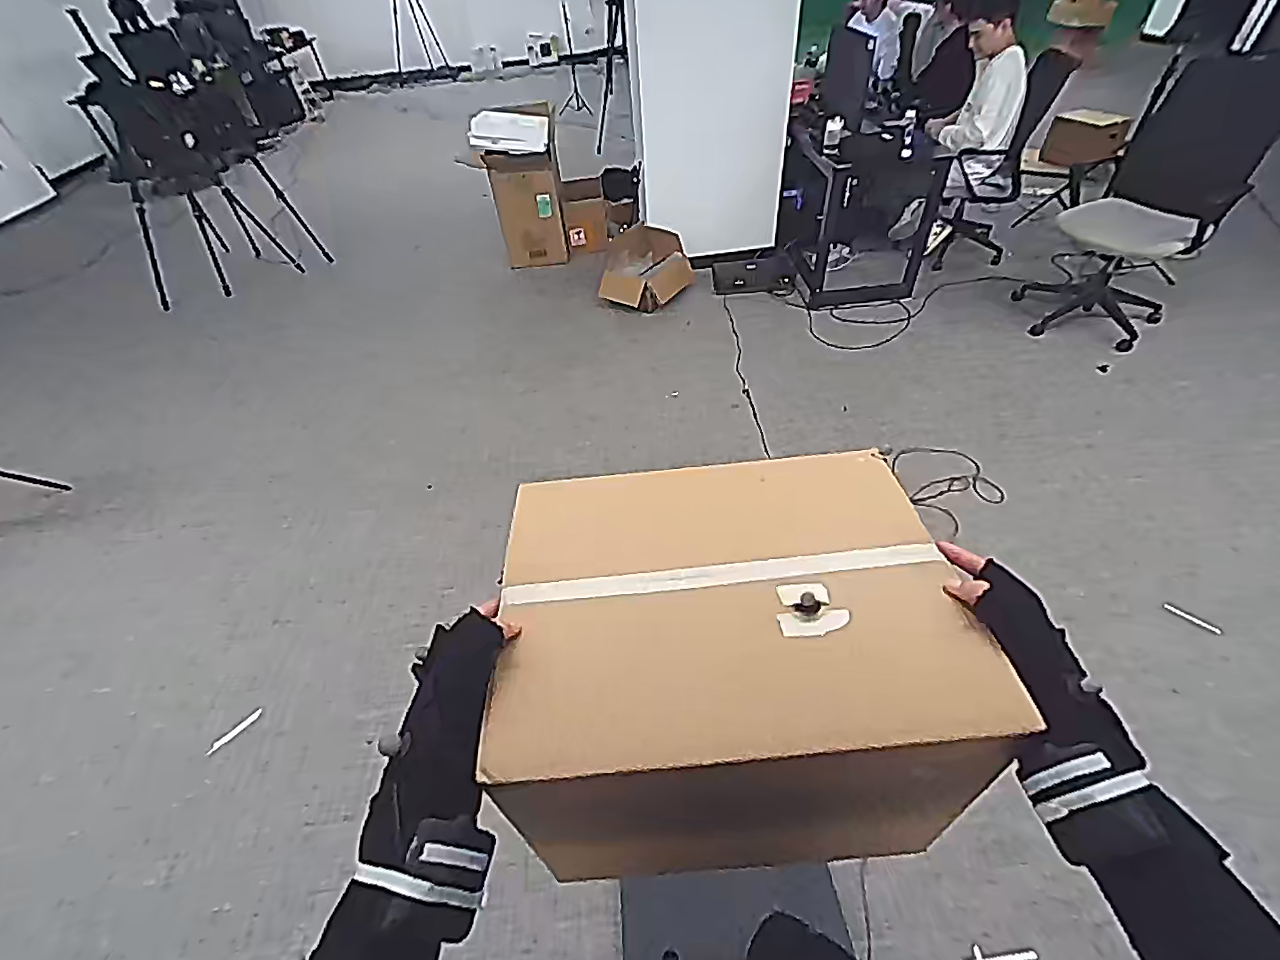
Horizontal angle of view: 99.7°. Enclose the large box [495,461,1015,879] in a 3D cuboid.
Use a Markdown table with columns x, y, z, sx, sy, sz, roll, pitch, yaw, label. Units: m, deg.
| x | y | z | sx | sy | sz | roll | pitch | yaw | label |
| --- | --- | --- | --- | --- | --- | --- | --- | --- | --- |
| 0.086 | 0.209 | 0.611 | 0.408 | 0.320 | 0.320 | -6 | 42 | 0 | large box |
